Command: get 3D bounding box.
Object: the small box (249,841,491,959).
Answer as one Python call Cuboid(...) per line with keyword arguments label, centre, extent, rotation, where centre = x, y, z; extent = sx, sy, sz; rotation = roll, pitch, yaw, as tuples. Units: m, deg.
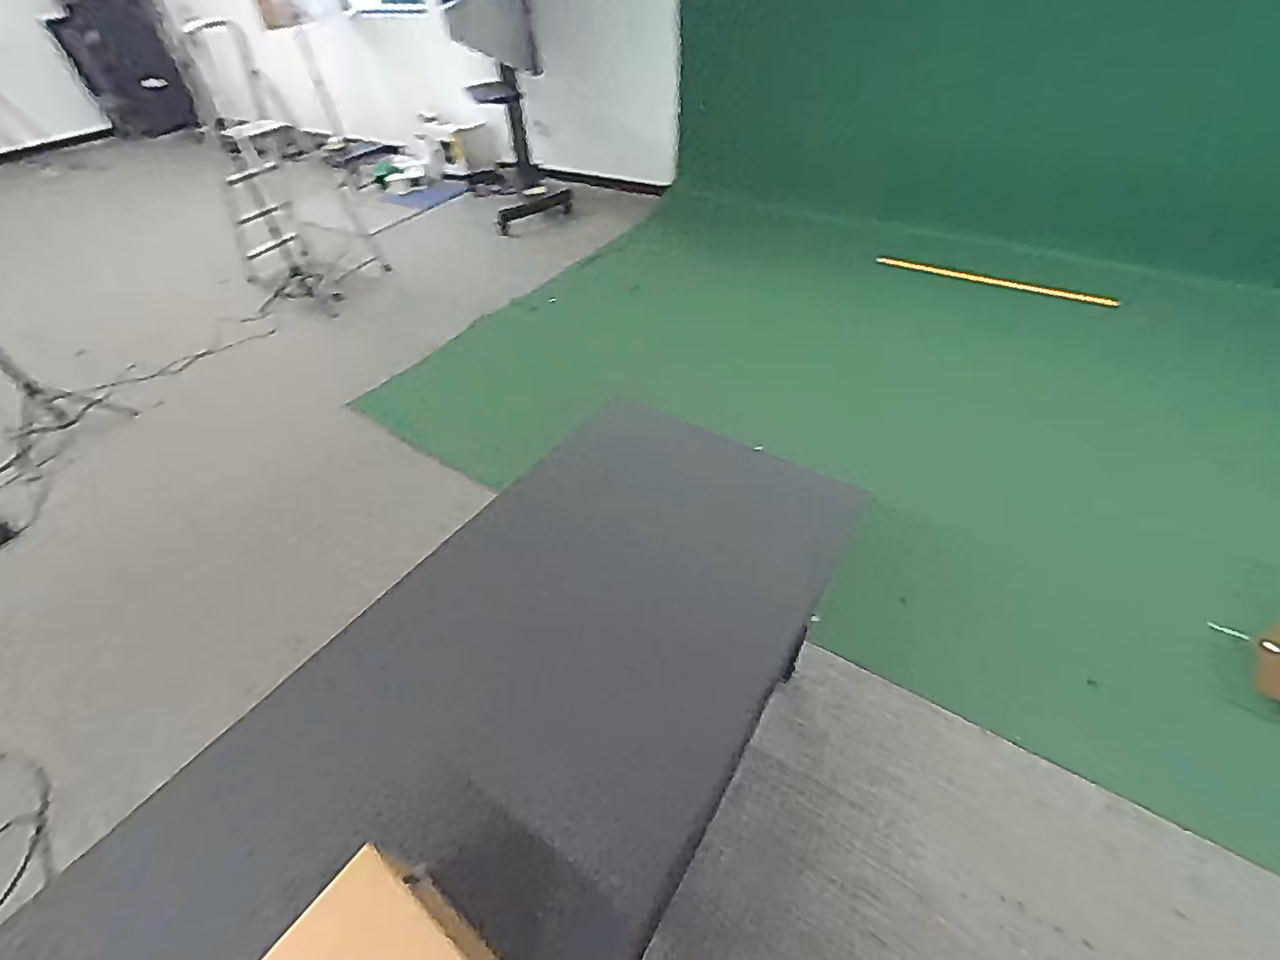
Cuboid(label="small box", centre=(-0.240, 0.479, 0.486), extent=(0.179, 0.176, 0.168), rotation=(26, 52, 26))
